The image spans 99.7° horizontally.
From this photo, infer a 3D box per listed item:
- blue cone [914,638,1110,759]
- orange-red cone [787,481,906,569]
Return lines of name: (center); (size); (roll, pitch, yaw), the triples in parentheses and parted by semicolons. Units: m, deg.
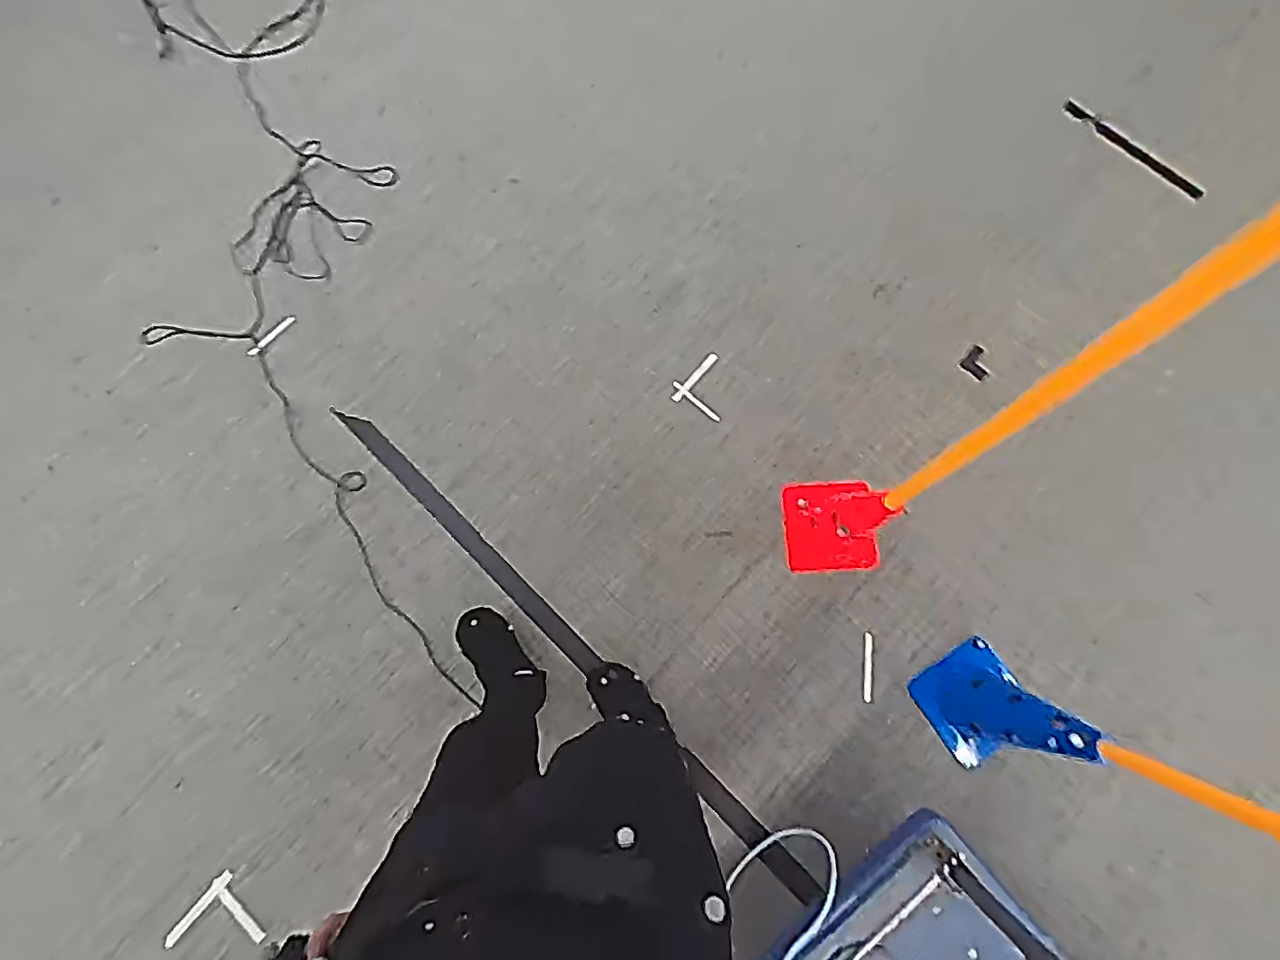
blue cone: (0.678, 0.419, 0.958); (0.193, 0.380, 0.192); (-31, 78, -3)
orange-red cone: (0.418, 0.067, 1.030); (0.198, 0.360, 0.199); (-1, 80, 3)
